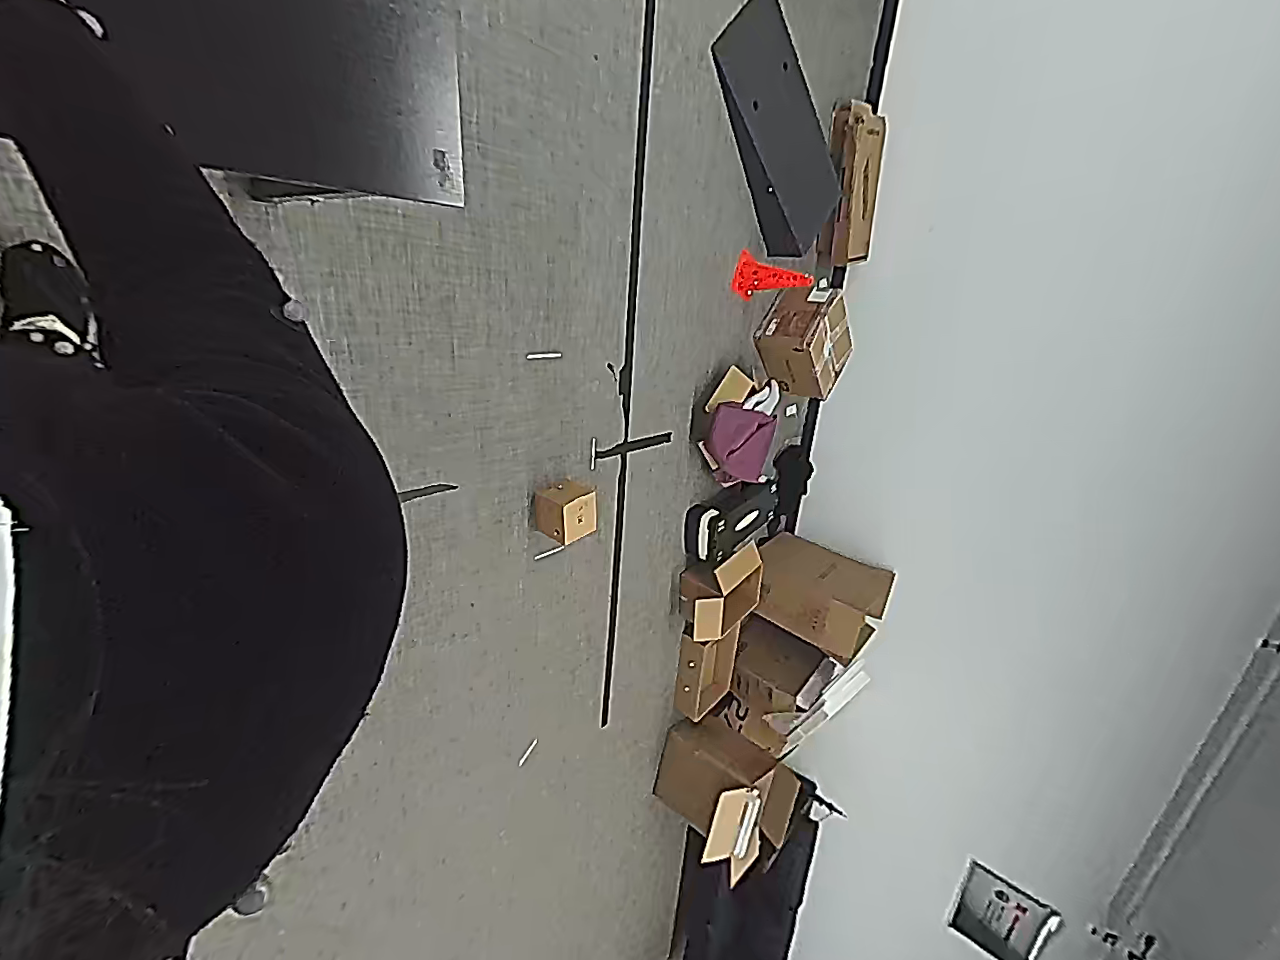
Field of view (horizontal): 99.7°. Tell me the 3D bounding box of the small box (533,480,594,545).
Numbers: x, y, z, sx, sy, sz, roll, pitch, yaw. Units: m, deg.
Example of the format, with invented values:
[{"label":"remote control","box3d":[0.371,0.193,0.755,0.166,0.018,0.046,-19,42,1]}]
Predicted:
[{"label":"small box","box3d":[-0.294,0.120,2.087,0.168,0.176,0.179,-26,126,-43]}]
